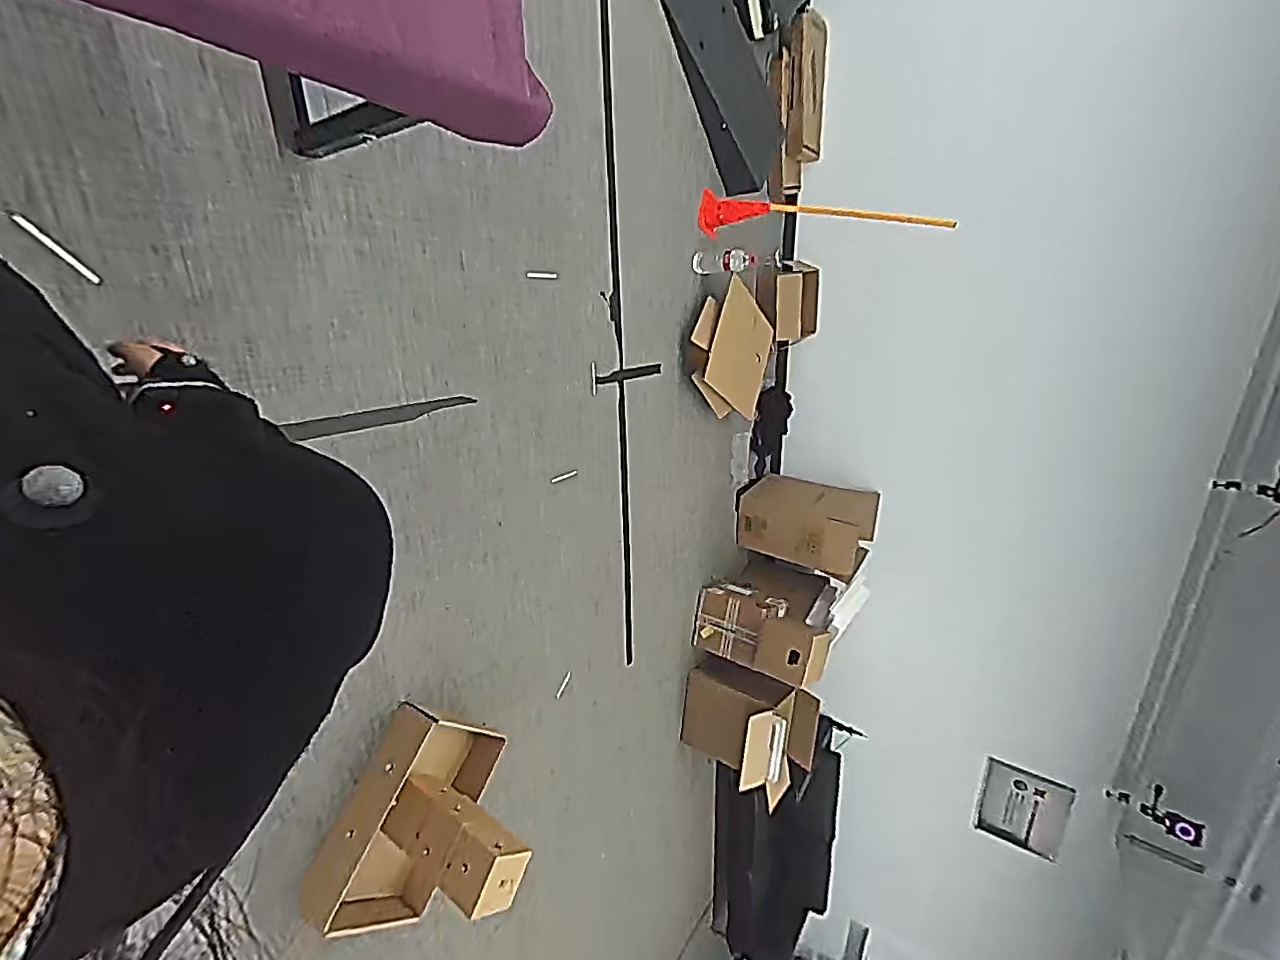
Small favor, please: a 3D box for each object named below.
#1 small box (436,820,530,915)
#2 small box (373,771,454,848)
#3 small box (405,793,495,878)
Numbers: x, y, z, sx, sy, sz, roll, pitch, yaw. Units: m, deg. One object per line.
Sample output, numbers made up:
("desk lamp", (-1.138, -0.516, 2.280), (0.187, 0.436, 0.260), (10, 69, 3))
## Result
("small box", (-0.475, 1.156, 1.628), (0.179, 0.176, 0.168), (44, 66, -52))
("small box", (-0.744, 1.097, 1.806), (0.179, 0.176, 0.168), (50, 59, -50))
("small box", (-0.608, 1.122, 1.721), (0.179, 0.176, 0.168), (45, 64, -53))
